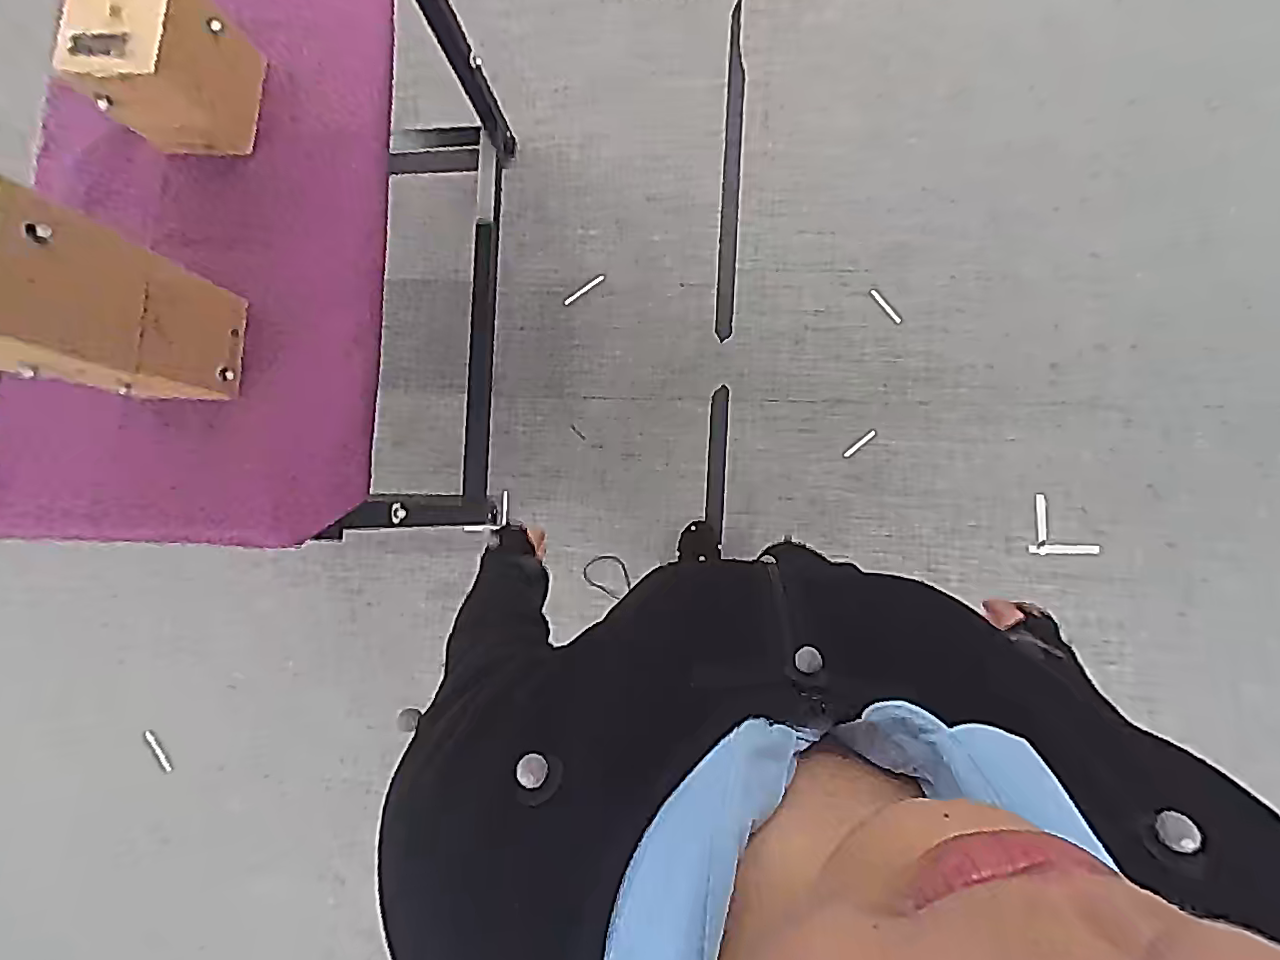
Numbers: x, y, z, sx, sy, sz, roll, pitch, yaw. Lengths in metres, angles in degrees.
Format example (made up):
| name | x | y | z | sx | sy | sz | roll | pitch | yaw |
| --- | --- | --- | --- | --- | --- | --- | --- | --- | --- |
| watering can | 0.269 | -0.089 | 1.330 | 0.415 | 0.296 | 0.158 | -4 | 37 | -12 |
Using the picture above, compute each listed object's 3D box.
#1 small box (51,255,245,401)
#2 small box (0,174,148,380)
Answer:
| name | x | y | z | sx | sy | sz | roll | pitch | yaw |
| --- | --- | --- | --- | --- | --- | --- | --- | --- | --- |
| small box | -0.736 | -0.218 | 0.806 | 0.179 | 0.176 | 0.168 | 2 | 85 | 6 |
| small box | -0.741 | -0.229 | 0.641 | 0.168 | 0.176 | 0.179 | 1 | 85 | 5 |
